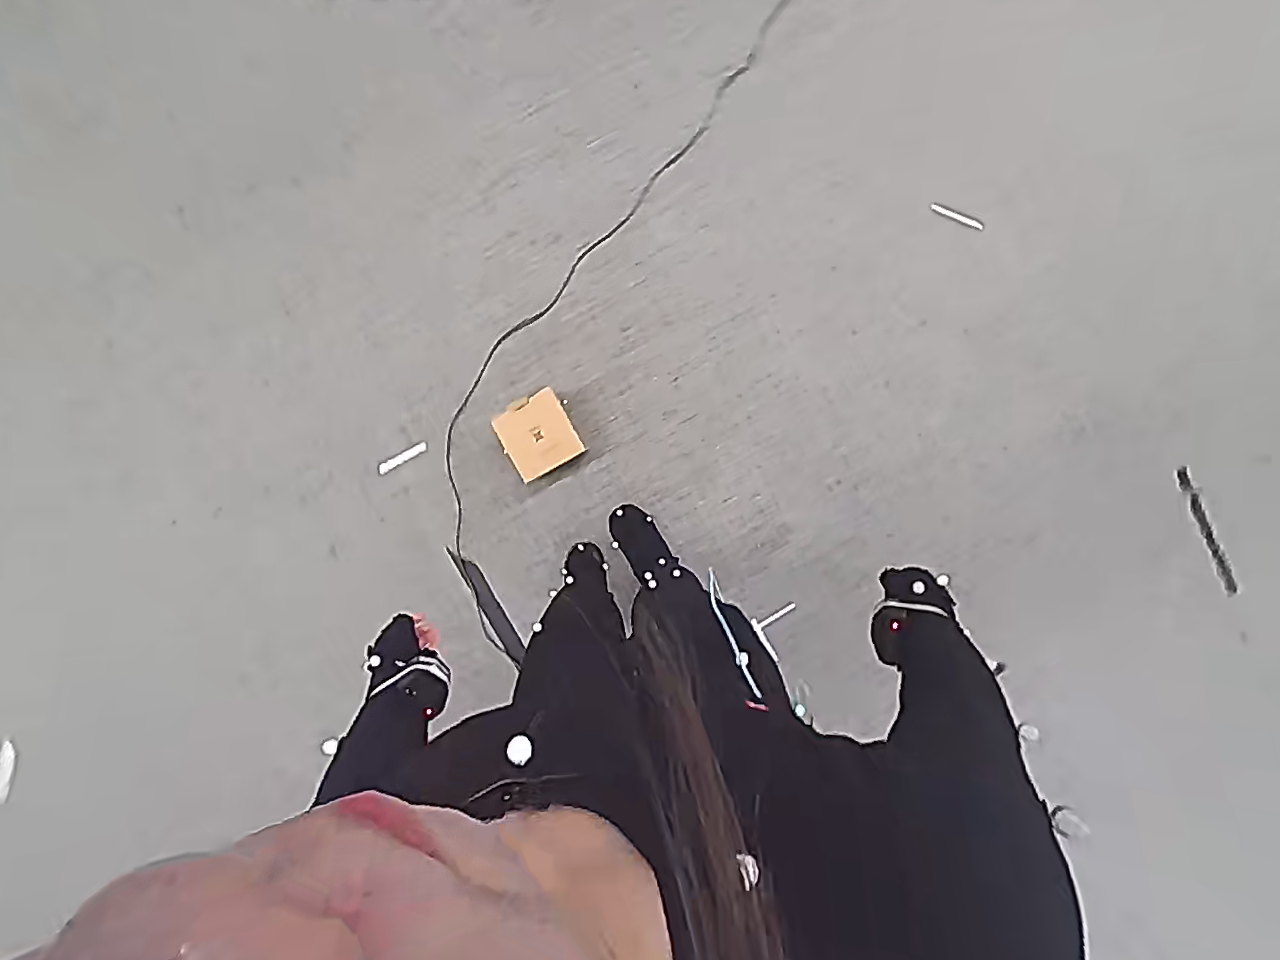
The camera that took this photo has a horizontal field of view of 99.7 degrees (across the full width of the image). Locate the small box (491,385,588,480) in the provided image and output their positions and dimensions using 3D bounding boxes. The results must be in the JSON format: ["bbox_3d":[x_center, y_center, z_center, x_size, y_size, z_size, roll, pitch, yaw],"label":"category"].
[{"bbox_3d":[-0.244,-0.115,1.351,0.168,0.176,0.179,-29,95,0],"label":"small box"}]
